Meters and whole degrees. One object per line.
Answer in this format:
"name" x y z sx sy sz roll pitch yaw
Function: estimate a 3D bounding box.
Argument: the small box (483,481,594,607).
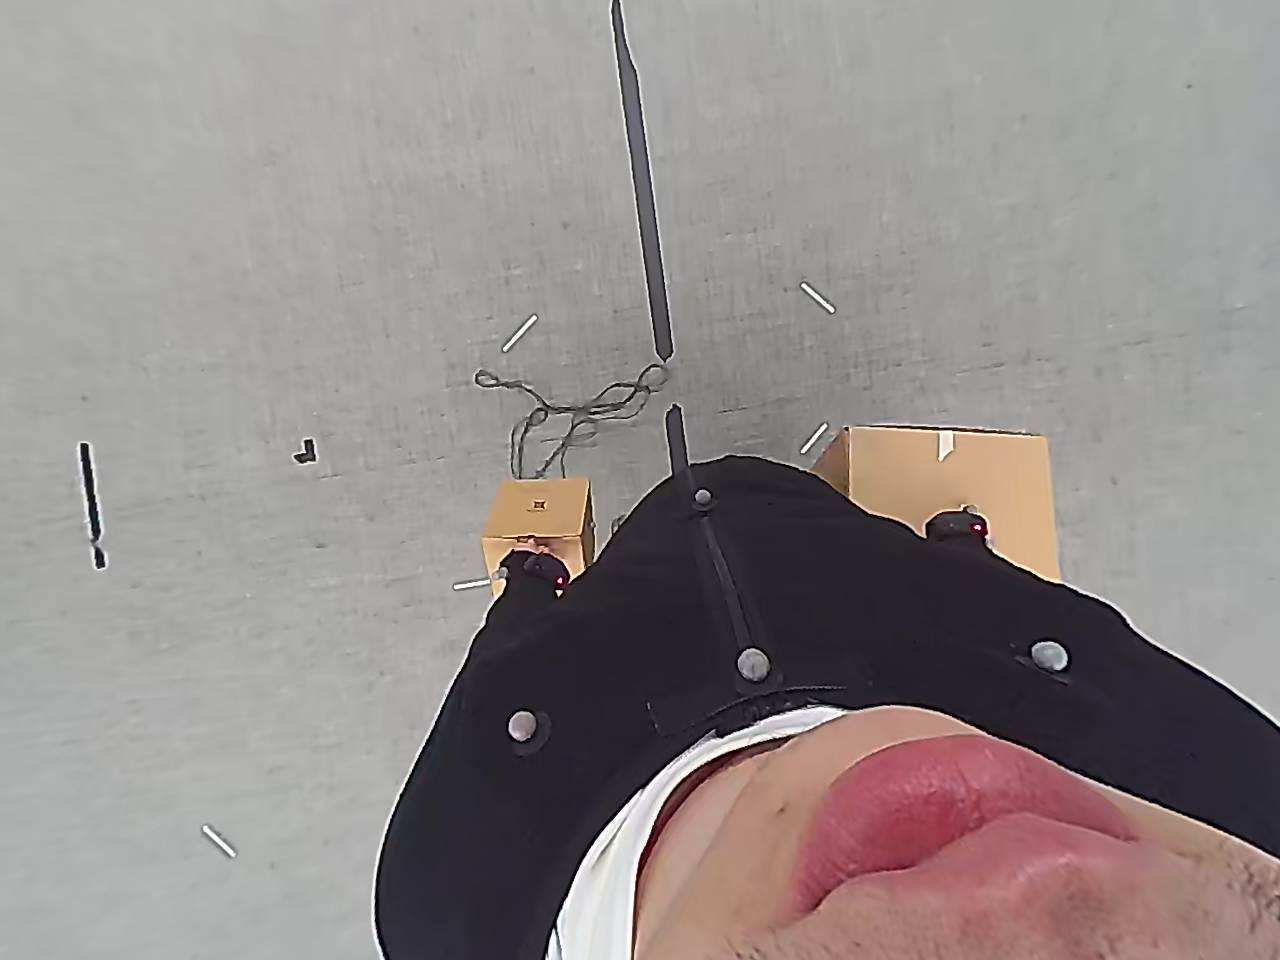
"small box" -0.174 0.118 0.993 0.168 0.179 0.176 0 122 0
